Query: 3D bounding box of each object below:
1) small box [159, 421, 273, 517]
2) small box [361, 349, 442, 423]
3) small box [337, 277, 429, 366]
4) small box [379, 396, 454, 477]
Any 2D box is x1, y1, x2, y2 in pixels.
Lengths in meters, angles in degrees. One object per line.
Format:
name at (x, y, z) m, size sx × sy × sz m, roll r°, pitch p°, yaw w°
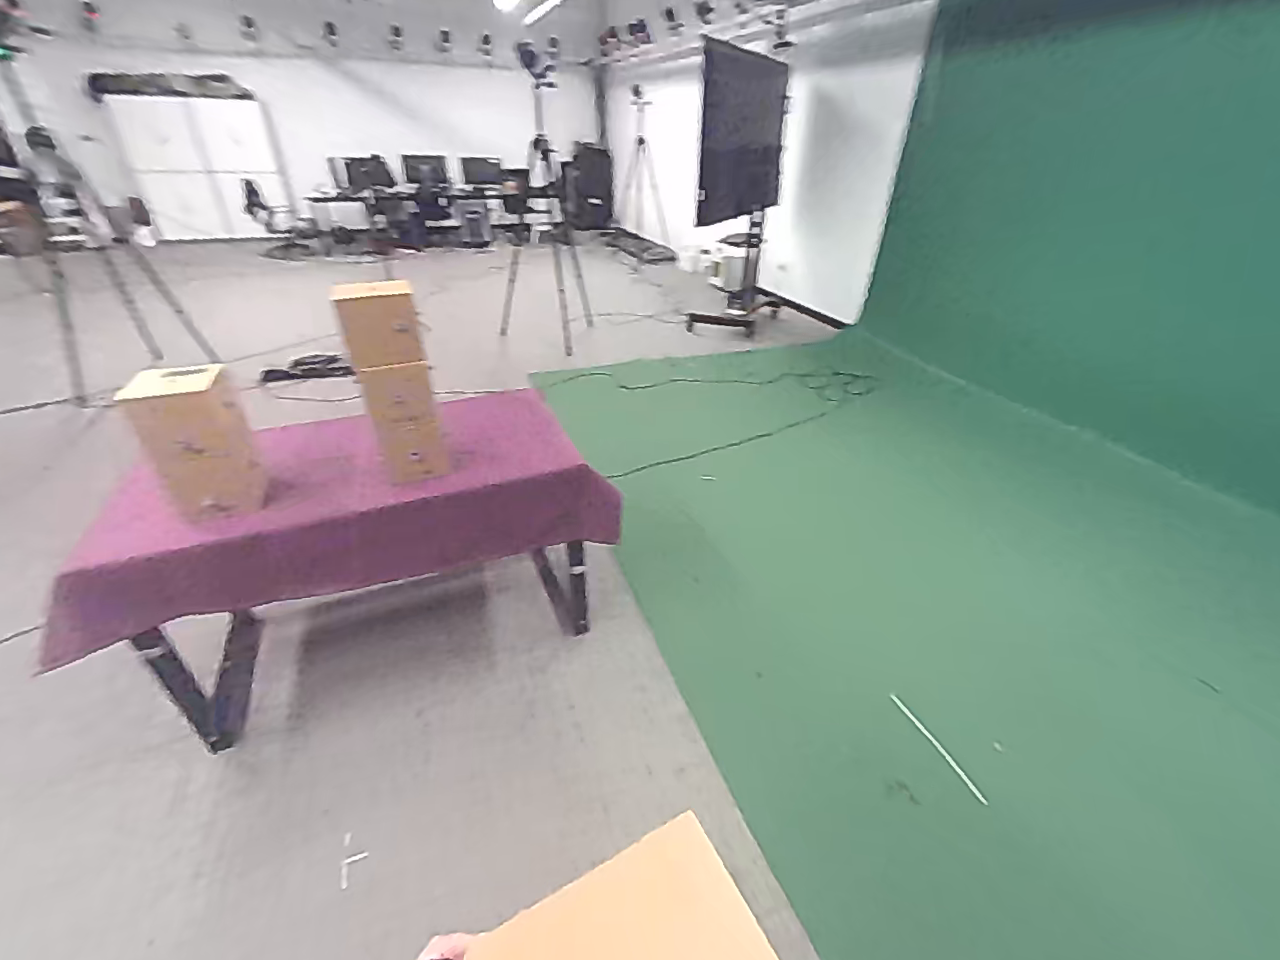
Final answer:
small box at (-1.060, -0.029, 1.370) m, size 0.168 × 0.176 × 0.179 m, roll -11°, pitch 36°, yaw -18°
small box at (-0.630, -0.259, 1.434) m, size 0.168 × 0.176 × 0.179 m, roll -12°, pitch 35°, yaw -19°
small box at (-0.633, -0.398, 1.348) m, size 0.179 × 0.176 × 0.168 m, roll -13°, pitch 34°, yaw -19°
small box at (-0.629, -0.121, 1.525) m, size 0.168 × 0.176 × 0.179 m, roll -11°, pitch 36°, yaw -19°
